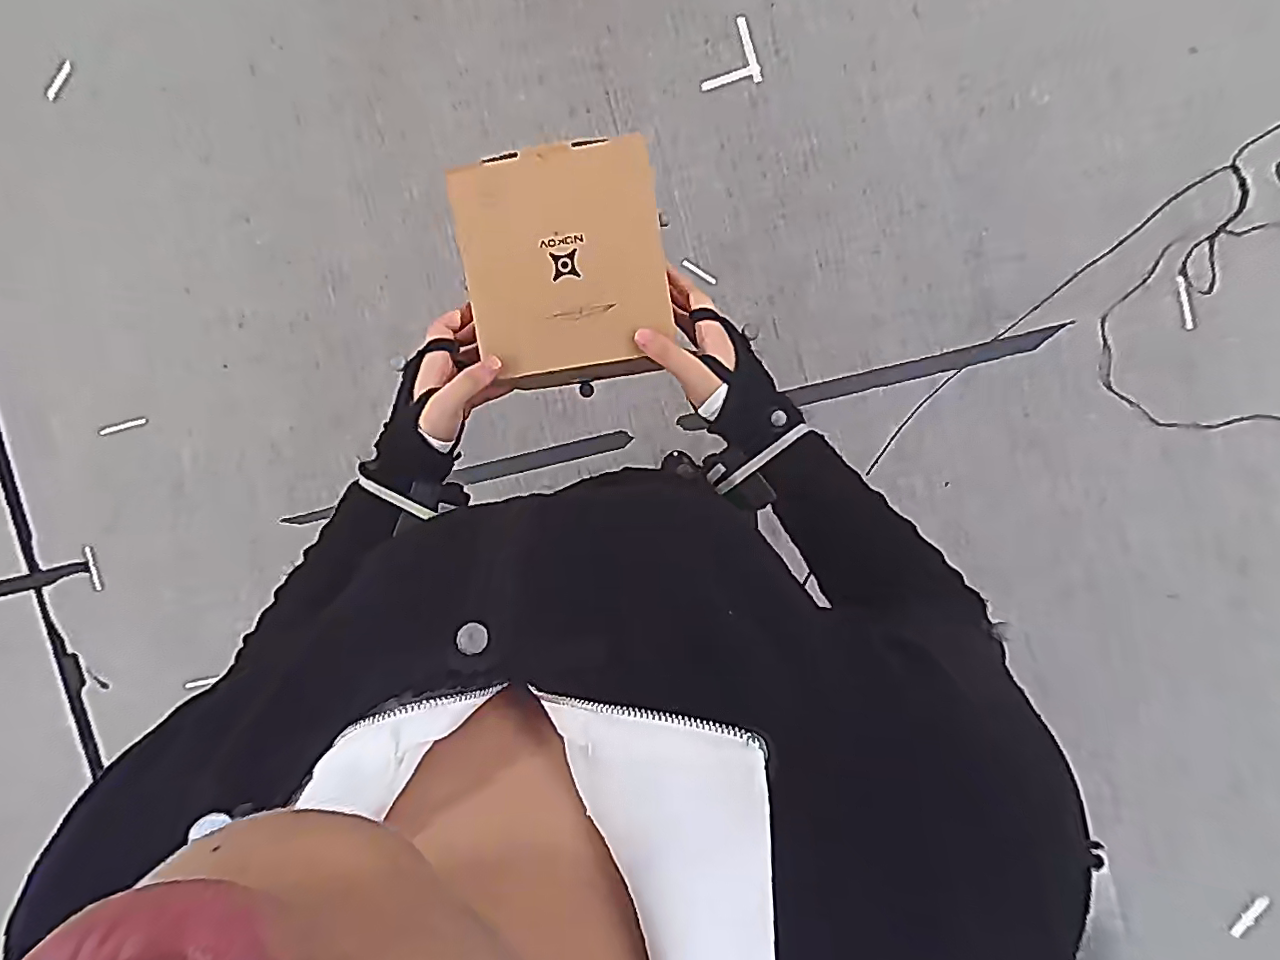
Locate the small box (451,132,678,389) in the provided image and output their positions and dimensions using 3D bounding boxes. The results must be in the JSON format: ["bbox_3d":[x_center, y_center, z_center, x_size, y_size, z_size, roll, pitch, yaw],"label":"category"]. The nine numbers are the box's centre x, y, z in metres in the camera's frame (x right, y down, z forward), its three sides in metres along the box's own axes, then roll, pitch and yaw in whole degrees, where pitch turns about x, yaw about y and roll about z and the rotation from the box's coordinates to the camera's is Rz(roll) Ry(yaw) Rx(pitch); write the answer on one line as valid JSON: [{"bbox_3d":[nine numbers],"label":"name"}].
[{"bbox_3d":[-0.060,-0.190,0.520,0.168,0.176,0.179,-9,96,2],"label":"small box"}]
